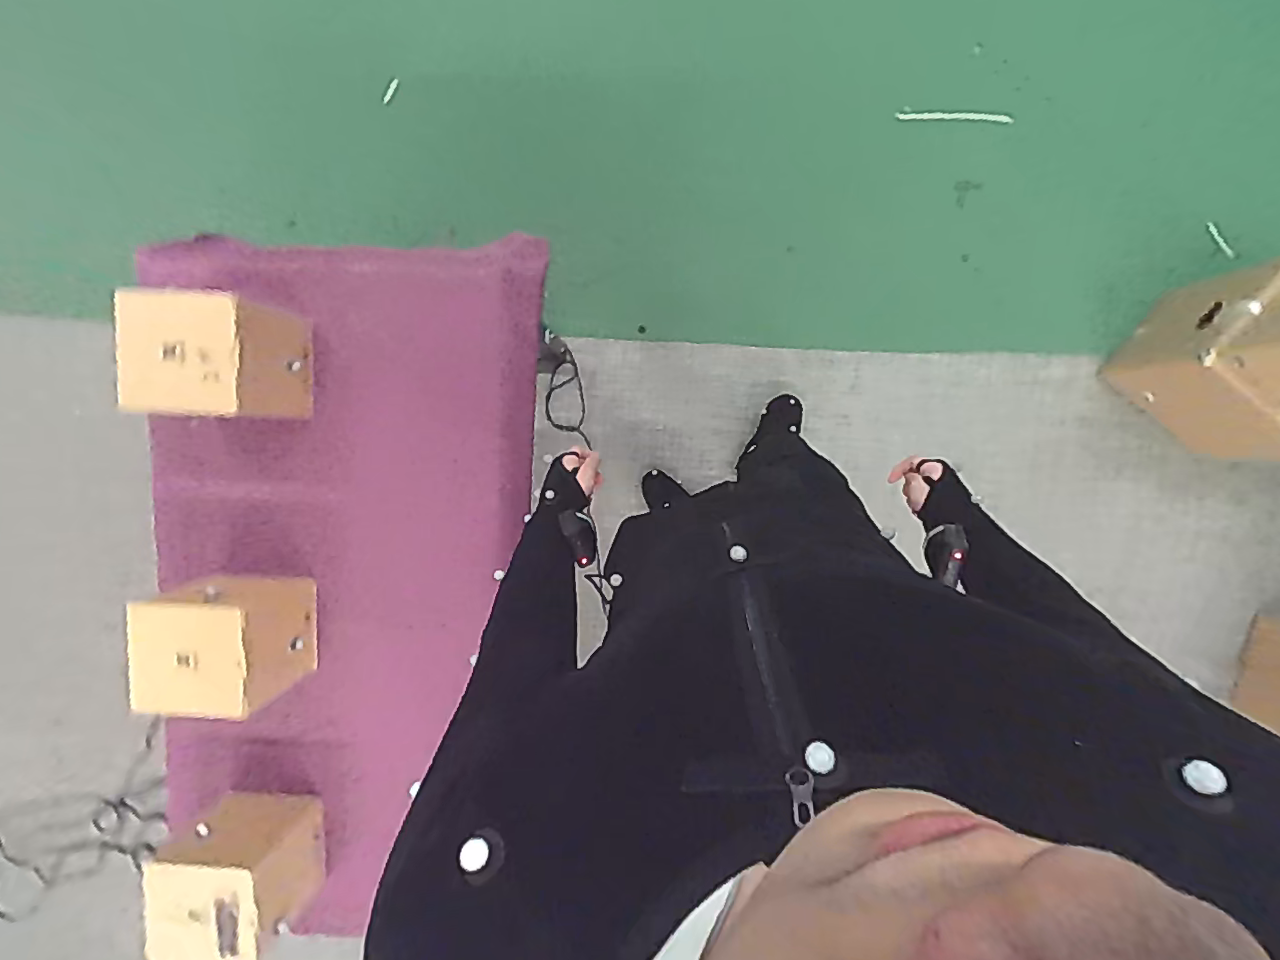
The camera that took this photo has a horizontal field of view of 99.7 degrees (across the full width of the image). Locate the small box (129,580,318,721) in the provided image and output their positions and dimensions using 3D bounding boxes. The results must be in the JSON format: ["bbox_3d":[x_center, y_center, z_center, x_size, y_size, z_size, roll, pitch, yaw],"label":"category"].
[{"bbox_3d":[-0.648,0.260,0.858,0.179,0.176,0.168,1,94,1],"label":"small box"}]

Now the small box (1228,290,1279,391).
[{"bbox_3d":[1.431,-0.305,1.146,0.168,0.176,0.179,41,95,-2],"label":"small box"}]

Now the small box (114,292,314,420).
[{"bbox_3d":[-0.634,-0.179,0.822,0.179,0.176,0.168,3,95,2],"label":"small box"}]
